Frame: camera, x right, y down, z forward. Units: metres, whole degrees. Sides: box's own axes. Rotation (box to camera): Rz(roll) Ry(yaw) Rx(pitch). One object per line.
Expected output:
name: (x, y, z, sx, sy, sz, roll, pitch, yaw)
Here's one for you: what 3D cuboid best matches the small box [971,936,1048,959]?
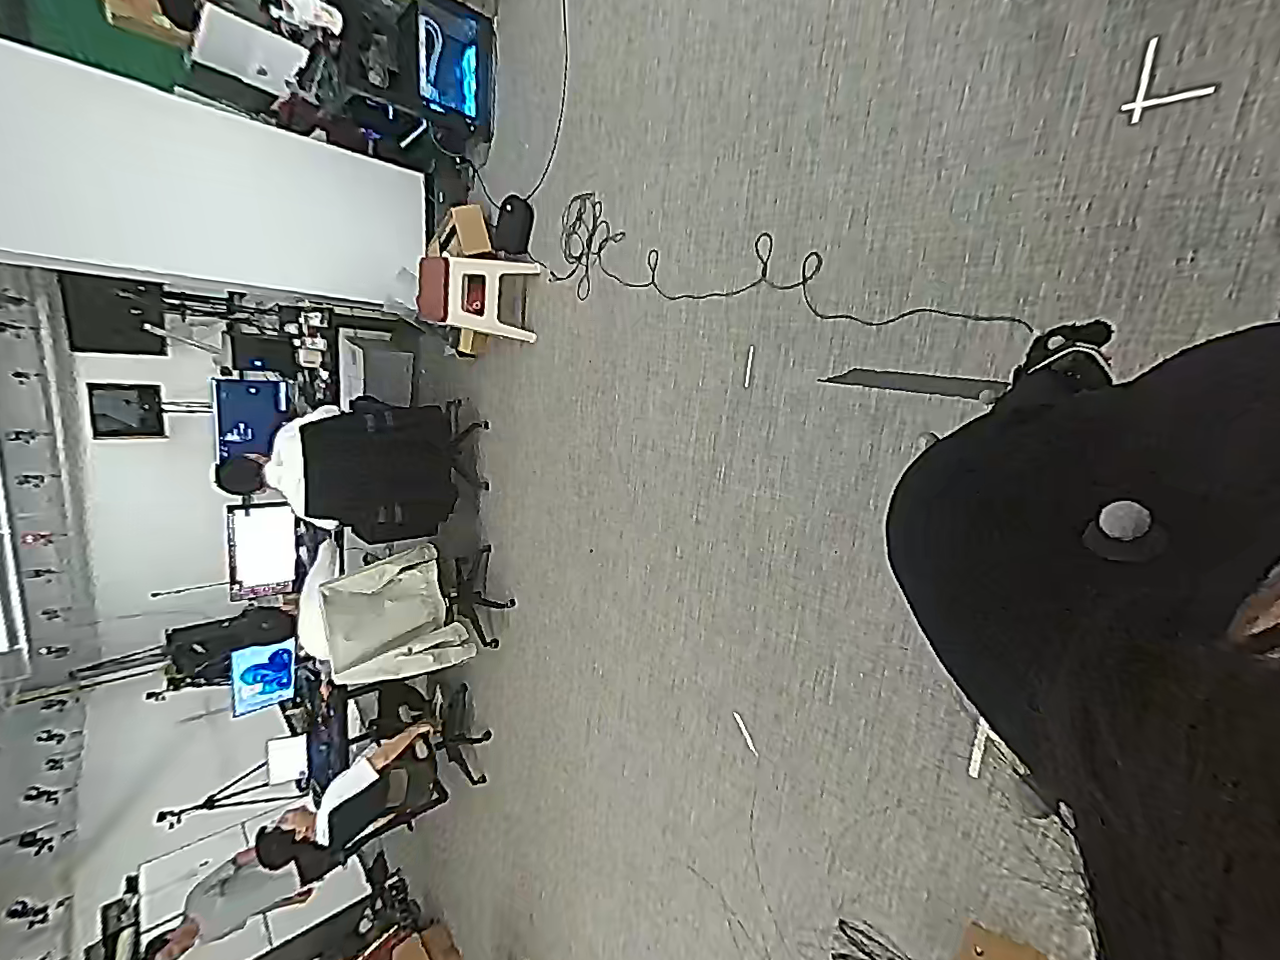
small box: (0.924, 1.278, 1.324, 0.179, 0.176, 0.168, -9, 89, 47)
